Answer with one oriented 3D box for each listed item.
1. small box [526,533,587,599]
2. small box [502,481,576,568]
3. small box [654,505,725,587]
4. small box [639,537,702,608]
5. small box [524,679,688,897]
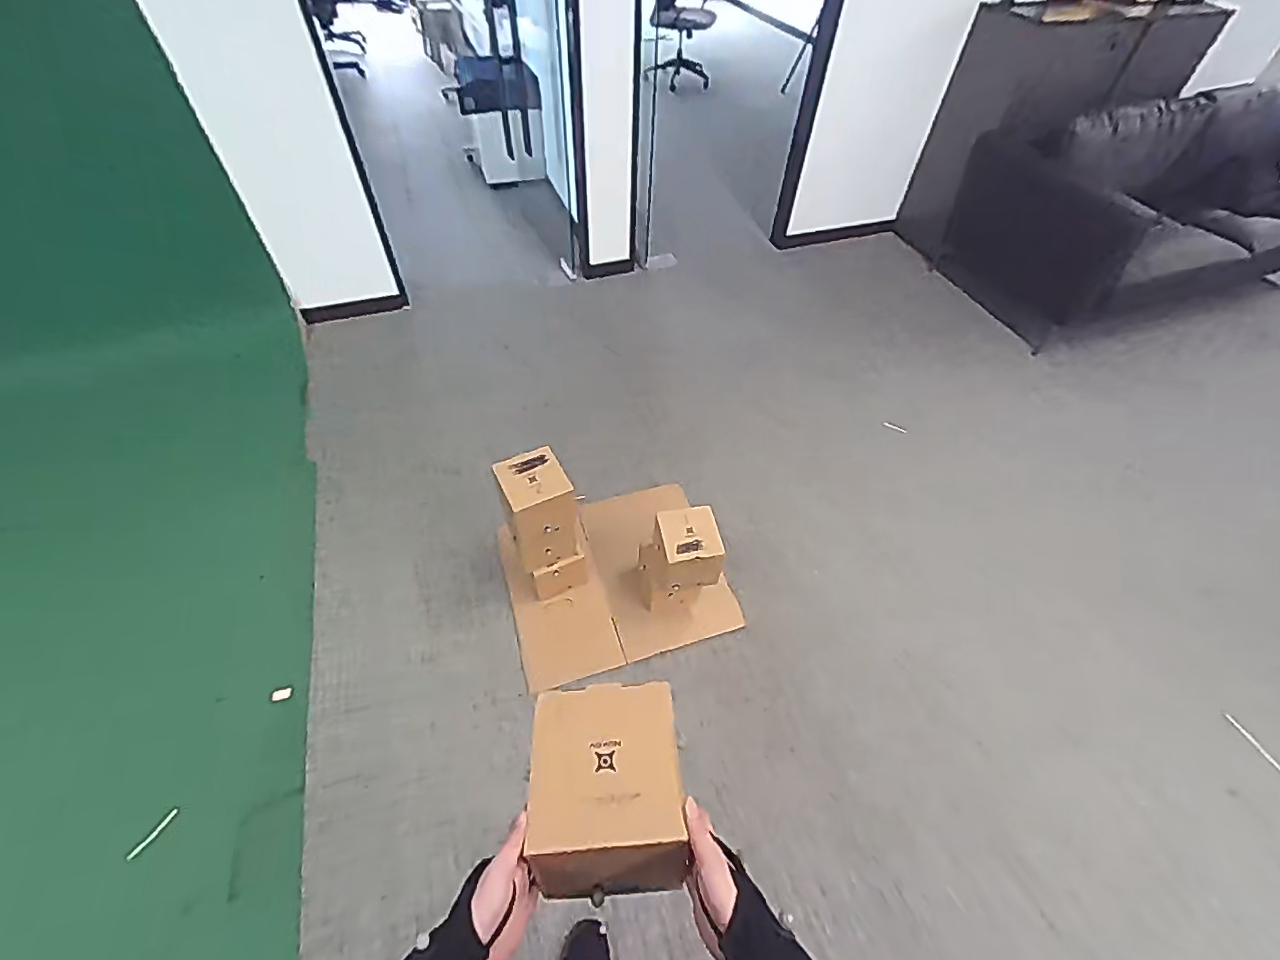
[{"bbox_3d":[-0.279,0.250,1.731,0.168,0.176,0.179,-20,54,-18],"label":"small box"},{"bbox_3d":[-0.297,0.139,1.608,0.168,0.176,0.179,-19,53,-18],"label":"small box"},{"bbox_3d":[0.138,0.199,1.576,0.168,0.176,0.179,-6,50,-8],"label":"small box"},{"bbox_3d":[0.096,0.289,1.713,0.168,0.176,0.179,-10,51,-10],"label":"small box"},{"bbox_3d":[-0.036,0.364,0.646,0.168,0.176,0.179,-3,39,-1],"label":"small box"}]
